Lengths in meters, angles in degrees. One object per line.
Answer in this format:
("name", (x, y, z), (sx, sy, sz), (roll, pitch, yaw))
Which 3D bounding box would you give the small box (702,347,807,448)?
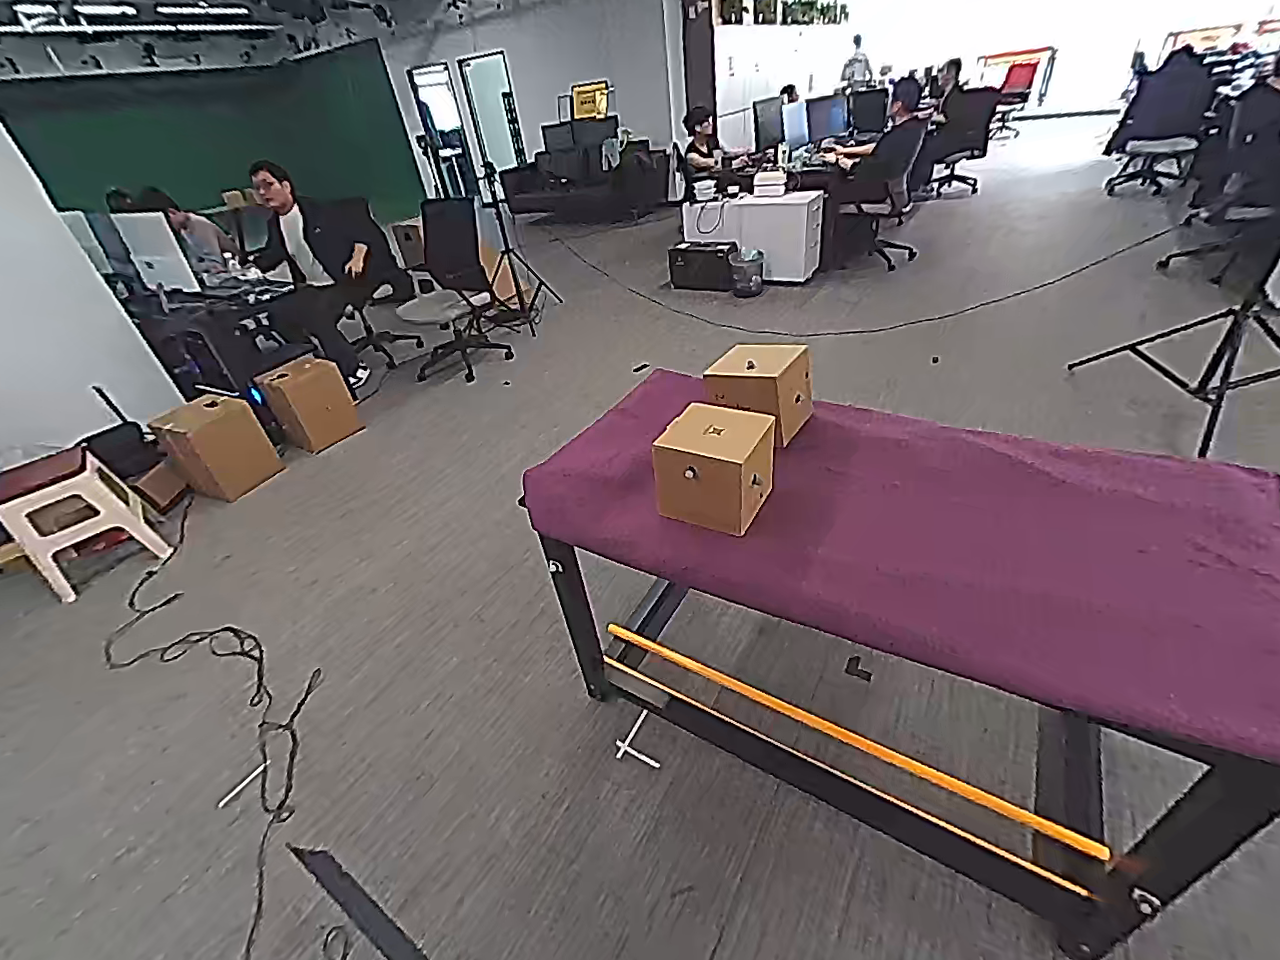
("small box", (0.264, -0.191, 1.207), (0.179, 0.168, 0.176), (11, 38, 36))

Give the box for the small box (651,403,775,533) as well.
("small box", (0.143, -0.023, 1.024), (0.179, 0.176, 0.168), (14, 41, 28))
